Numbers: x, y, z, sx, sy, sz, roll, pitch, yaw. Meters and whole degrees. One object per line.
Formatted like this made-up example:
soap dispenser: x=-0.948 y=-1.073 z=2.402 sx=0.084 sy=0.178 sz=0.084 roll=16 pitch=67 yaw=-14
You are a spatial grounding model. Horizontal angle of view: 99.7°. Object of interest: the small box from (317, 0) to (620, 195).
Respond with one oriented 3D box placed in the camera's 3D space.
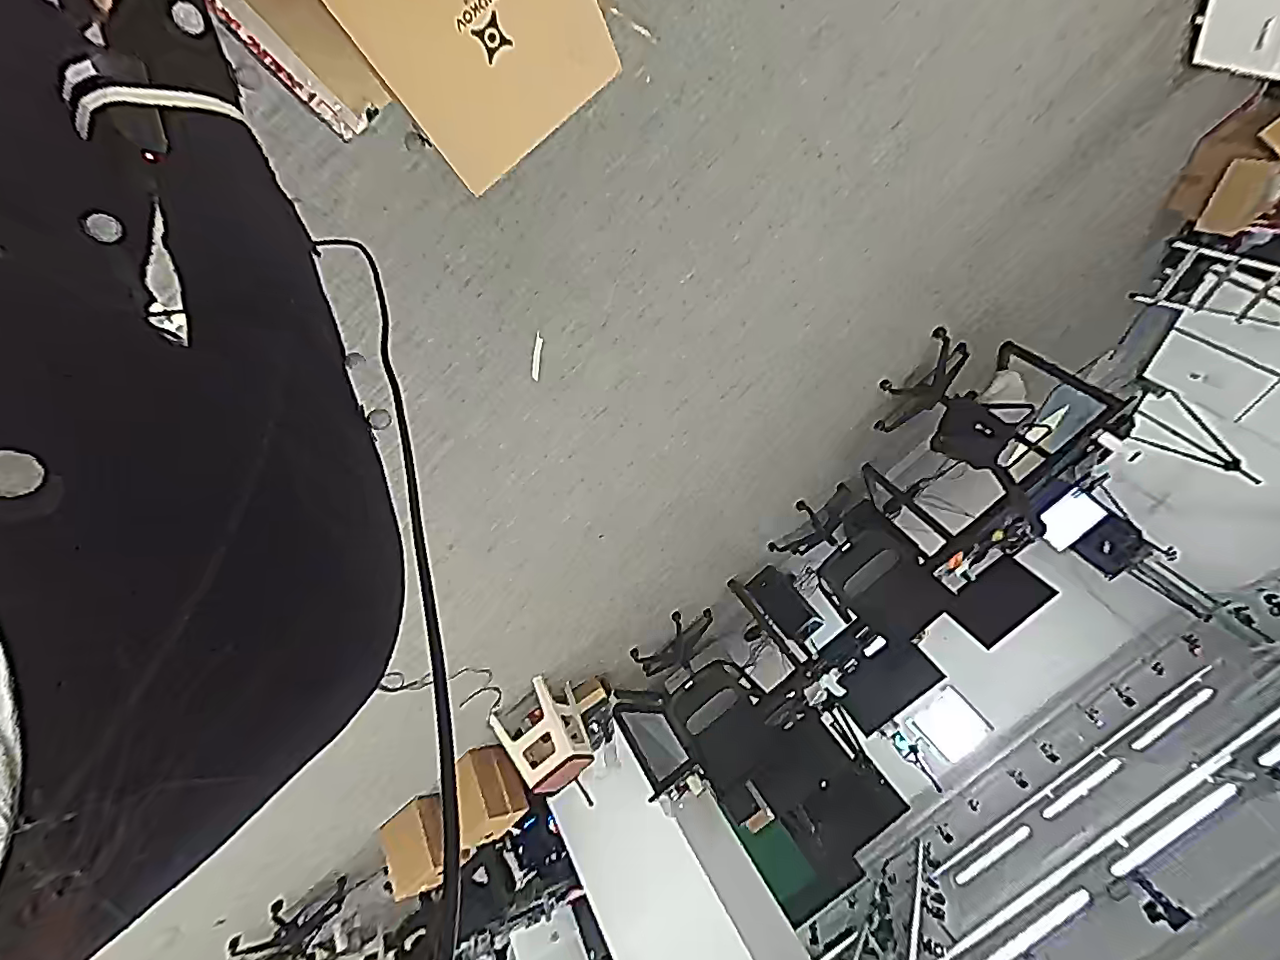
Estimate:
small box: x=-0.149 y=-0.378 z=0.425 sx=0.168 sy=0.176 sz=0.179 roll=-39 pitch=148 yaw=3
